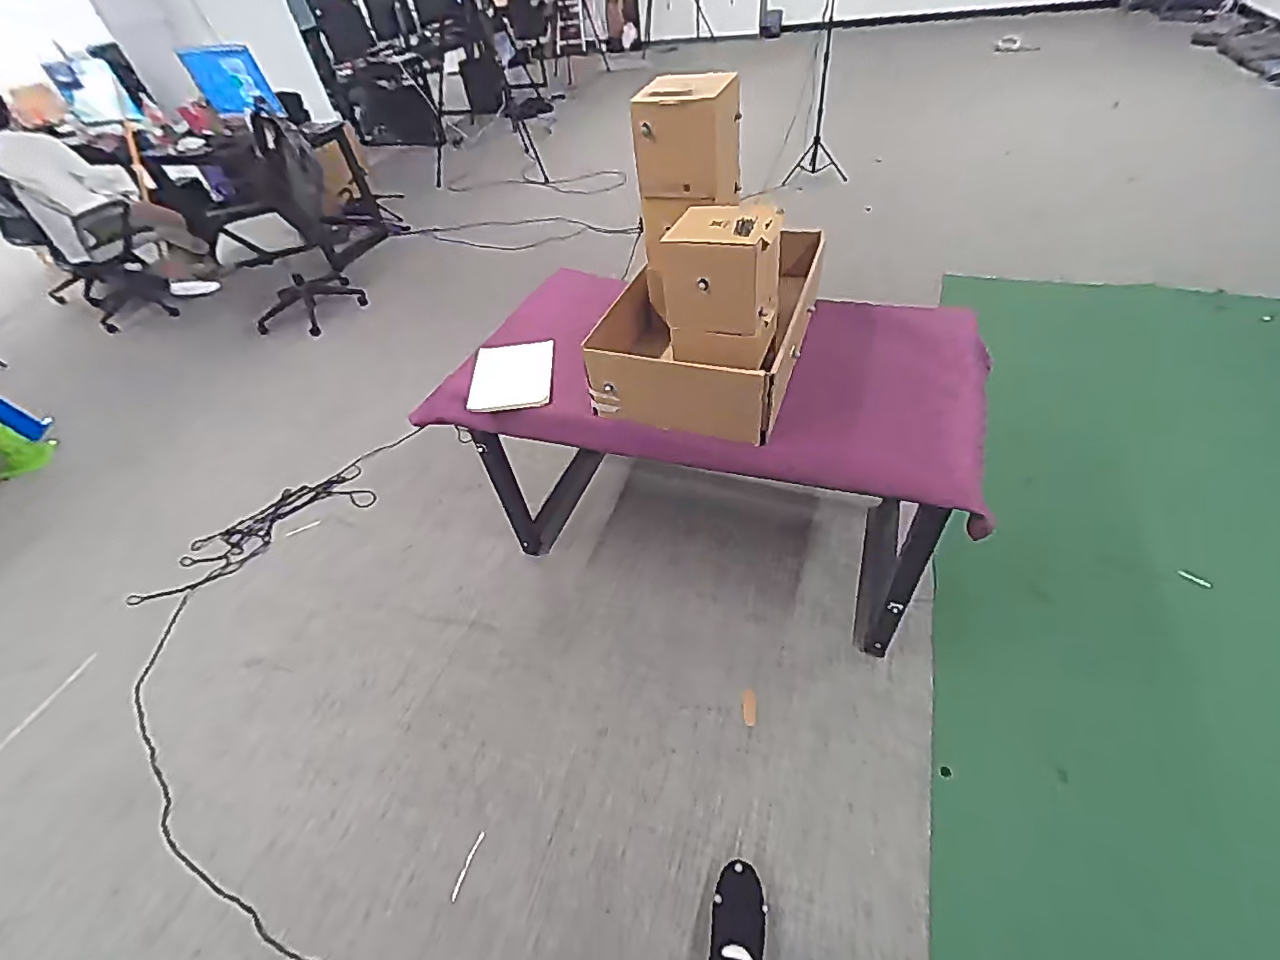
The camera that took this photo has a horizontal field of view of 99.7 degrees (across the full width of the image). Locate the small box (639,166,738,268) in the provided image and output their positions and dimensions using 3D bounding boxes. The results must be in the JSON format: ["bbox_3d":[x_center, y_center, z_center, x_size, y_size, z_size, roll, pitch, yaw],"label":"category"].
[{"bbox_3d":[0.116,-0.576,1.203,0.168,0.176,0.179,14,52,21],"label":"small box"}]

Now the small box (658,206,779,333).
[{"bbox_3d":[0.153,-0.394,1.015,0.179,0.176,0.168,12,48,22],"label":"small box"}]
